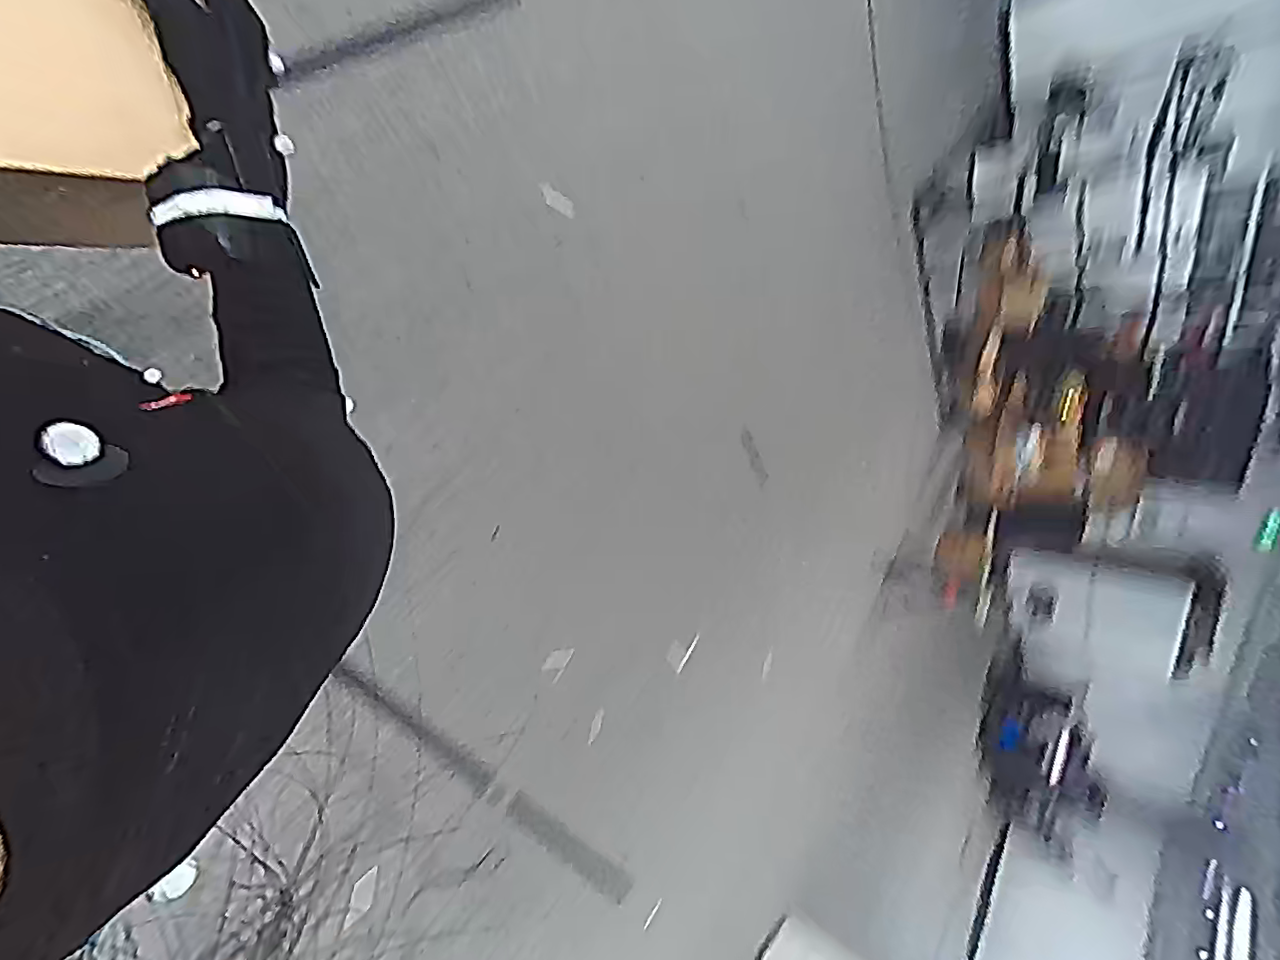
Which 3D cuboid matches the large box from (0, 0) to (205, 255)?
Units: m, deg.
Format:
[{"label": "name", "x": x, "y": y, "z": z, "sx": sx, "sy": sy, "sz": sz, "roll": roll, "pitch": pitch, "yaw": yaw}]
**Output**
[{"label": "large box", "x": -0.584, "y": -0.329, "z": 0.333, "sx": 0.408, "sy": 0.320, "sz": 0.320, "roll": -19, "pitch": 113, "yaw": -44}]
